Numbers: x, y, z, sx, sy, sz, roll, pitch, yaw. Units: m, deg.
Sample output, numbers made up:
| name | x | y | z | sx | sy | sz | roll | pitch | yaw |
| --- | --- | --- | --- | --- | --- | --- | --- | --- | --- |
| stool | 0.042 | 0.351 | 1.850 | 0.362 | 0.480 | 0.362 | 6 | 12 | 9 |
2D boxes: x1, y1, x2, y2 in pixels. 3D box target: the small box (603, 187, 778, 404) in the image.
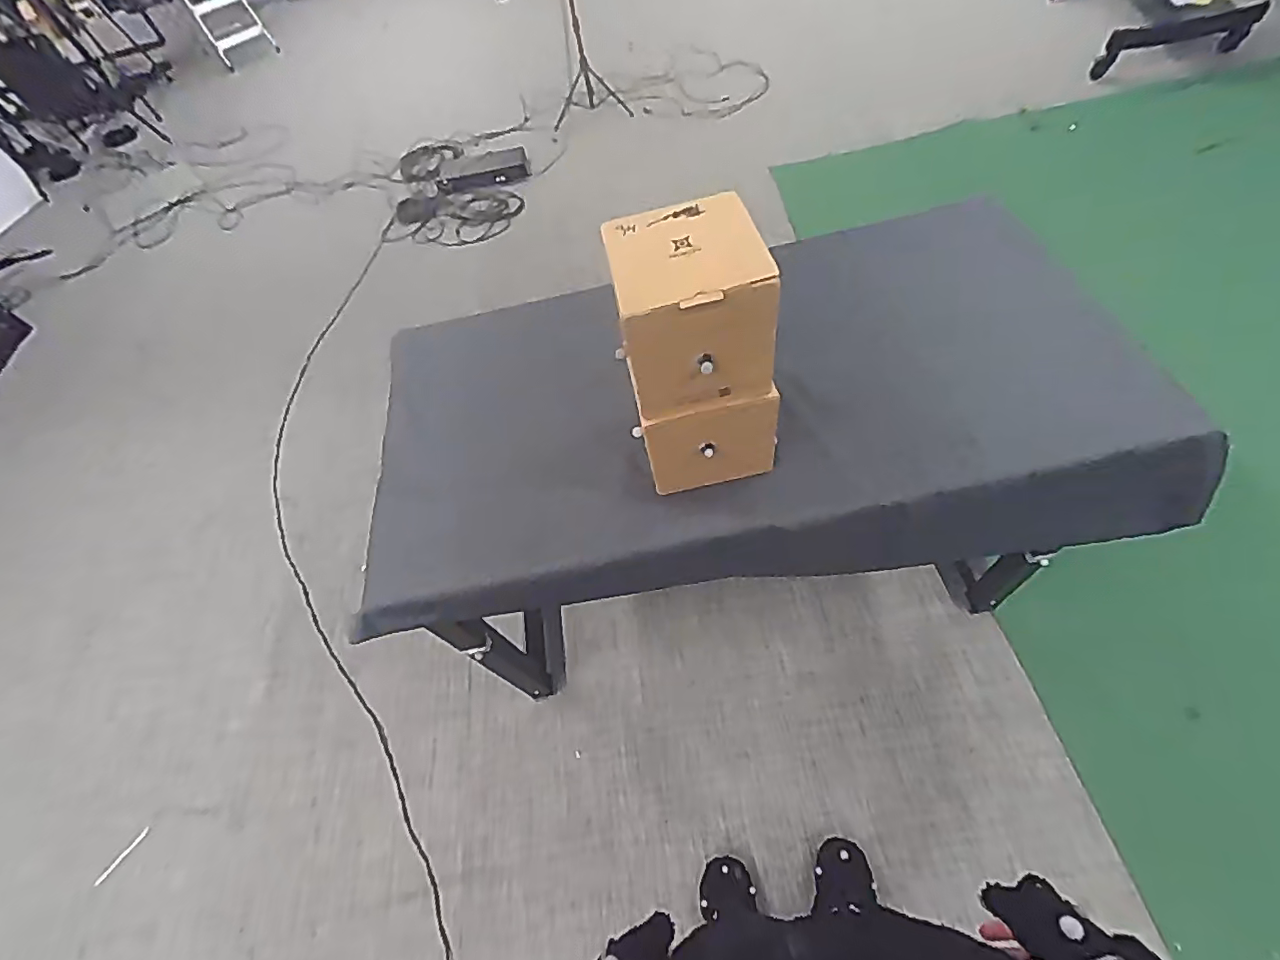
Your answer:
| name | x | y | z | sx | sy | sz | roll | pitch | yaw |
| --- | --- | --- | --- | --- | --- | --- | --- | --- | --- |
| small box | 0.060 | -0.211 | 0.653 | 0.168 | 0.176 | 0.179 | -12 | 57 | 2 |

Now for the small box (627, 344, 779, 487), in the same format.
| name | x | y | z | sx | sy | sz | roll | pitch | yaw |
| --- | --- | --- | --- | --- | --- | --- | --- | --- | --- |
| small box | 0.087 | -0.112 | 0.781 | 0.179 | 0.176 | 0.168 | -13 | 56 | 3 |
